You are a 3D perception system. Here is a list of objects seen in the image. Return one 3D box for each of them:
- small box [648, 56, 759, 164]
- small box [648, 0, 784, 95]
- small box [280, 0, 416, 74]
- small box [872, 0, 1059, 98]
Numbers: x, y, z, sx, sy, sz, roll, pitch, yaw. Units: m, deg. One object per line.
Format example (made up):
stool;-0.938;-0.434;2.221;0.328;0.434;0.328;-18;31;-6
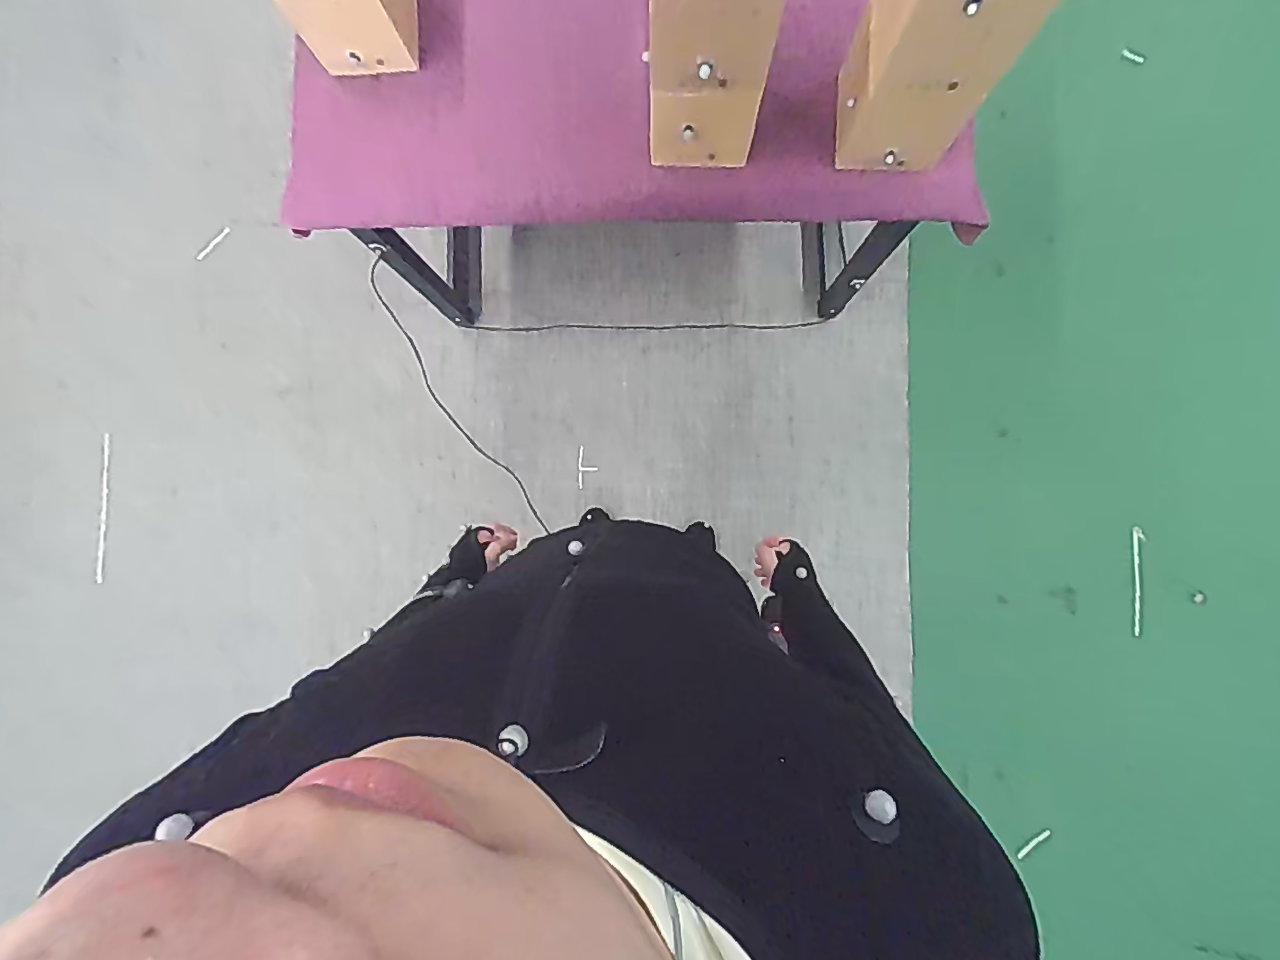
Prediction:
small box;0.102;-0.643;0.876;0.168;0.176;0.179;2;86;3
small box;0.097;-0.656;0.712;0.168;0.176;0.179;3;87;3
small box;-0.491;-0.832;0.906;0.168;0.176;0.179;-2;88;2
small box;0.413;-0.640;0.695;0.168;0.176;0.179;4;86;4
